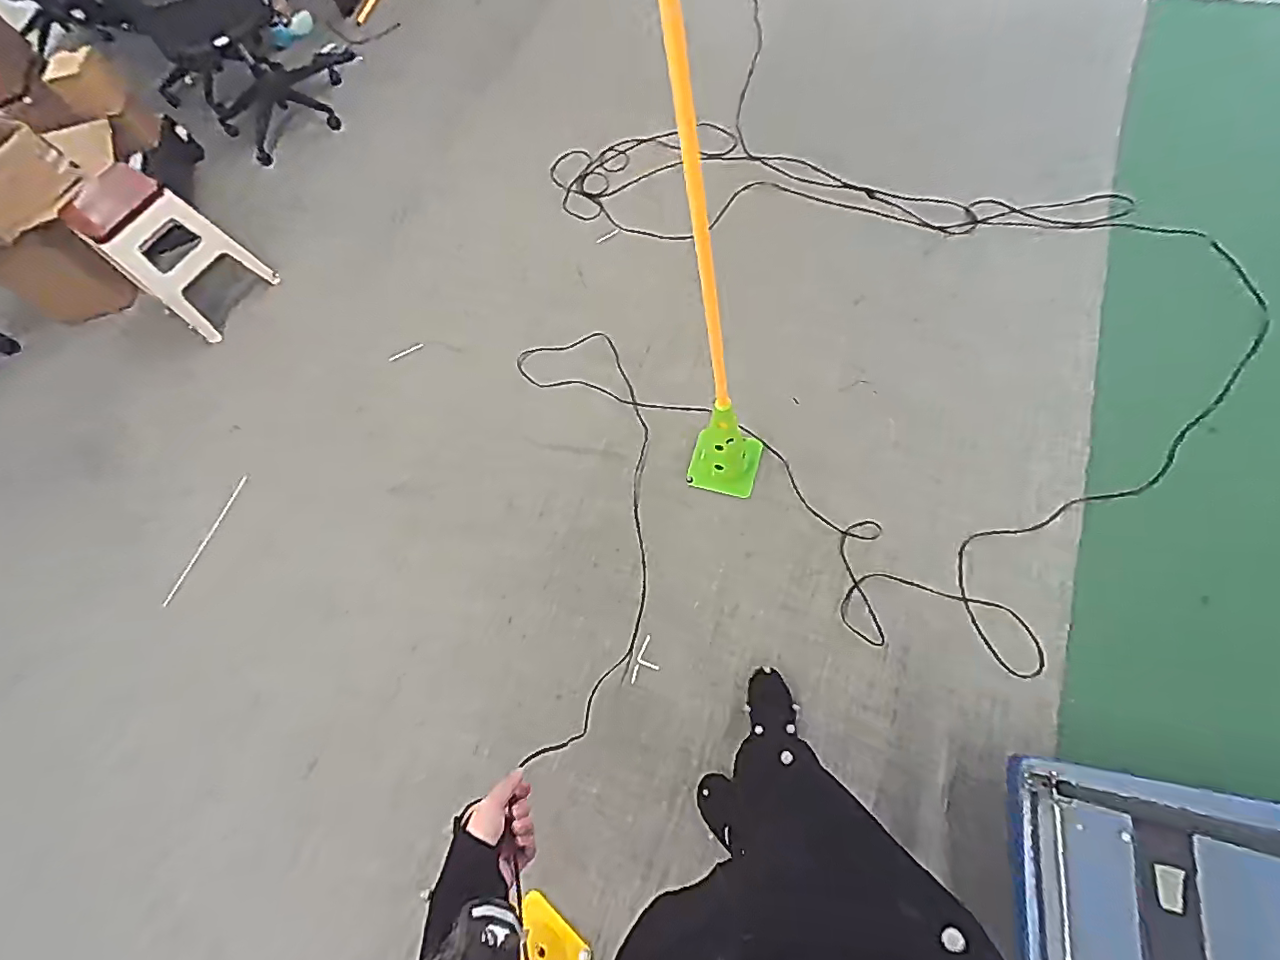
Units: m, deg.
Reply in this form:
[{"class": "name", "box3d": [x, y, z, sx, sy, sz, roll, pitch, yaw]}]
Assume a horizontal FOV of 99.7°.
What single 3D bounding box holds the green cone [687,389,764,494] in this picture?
[{"class": "green cone", "box3d": [0.236, -0.131, 1.482, 0.200, 0.368, 0.202, 13, 69, 14]}]
